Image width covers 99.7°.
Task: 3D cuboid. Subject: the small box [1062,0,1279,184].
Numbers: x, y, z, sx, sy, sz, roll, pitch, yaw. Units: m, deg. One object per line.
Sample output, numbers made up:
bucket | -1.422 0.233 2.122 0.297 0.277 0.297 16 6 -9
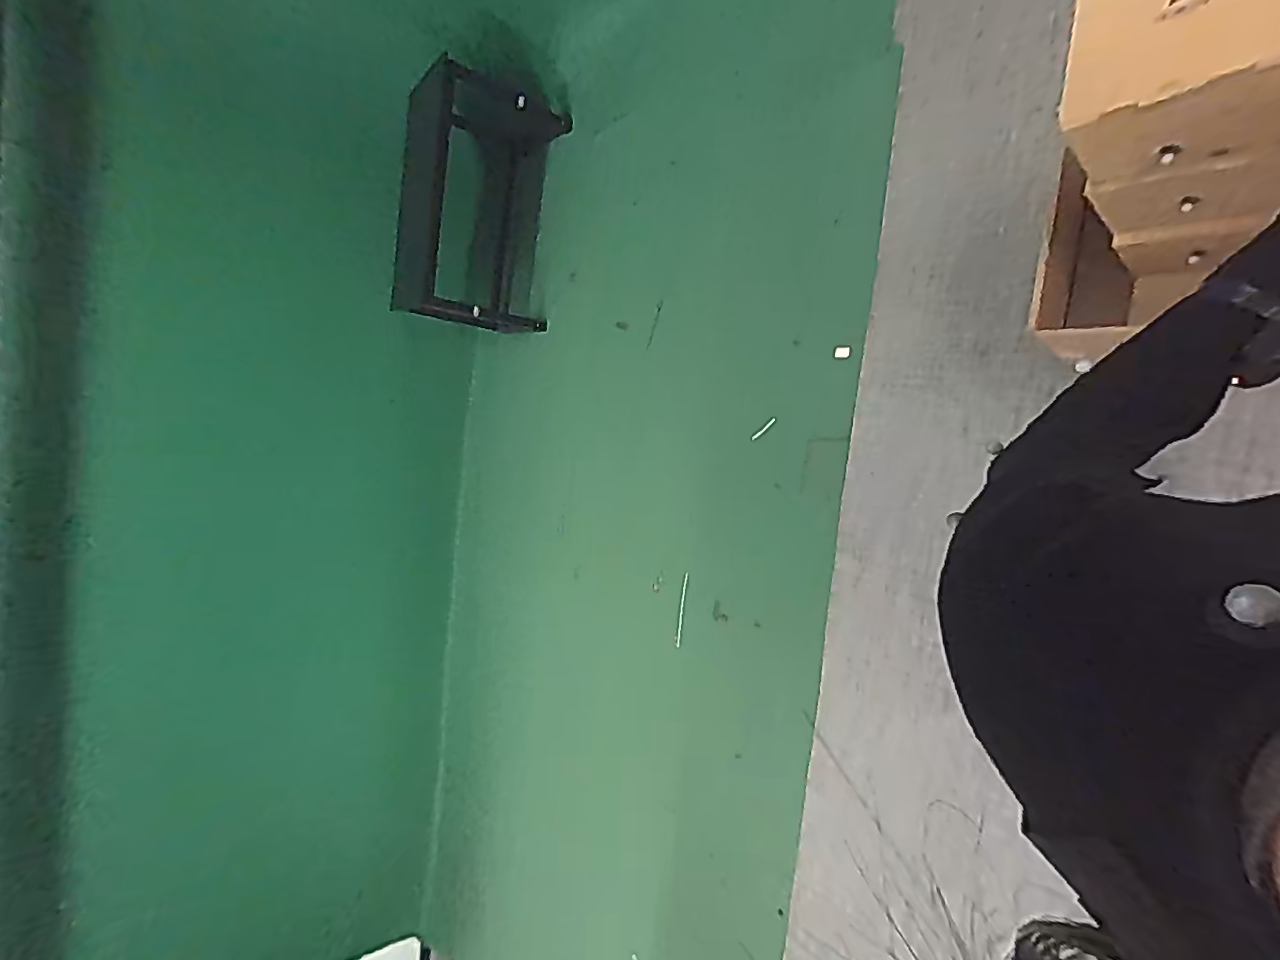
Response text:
small box | 0.547 -0.429 0.528 0.168 0.176 0.179 10 96 51
